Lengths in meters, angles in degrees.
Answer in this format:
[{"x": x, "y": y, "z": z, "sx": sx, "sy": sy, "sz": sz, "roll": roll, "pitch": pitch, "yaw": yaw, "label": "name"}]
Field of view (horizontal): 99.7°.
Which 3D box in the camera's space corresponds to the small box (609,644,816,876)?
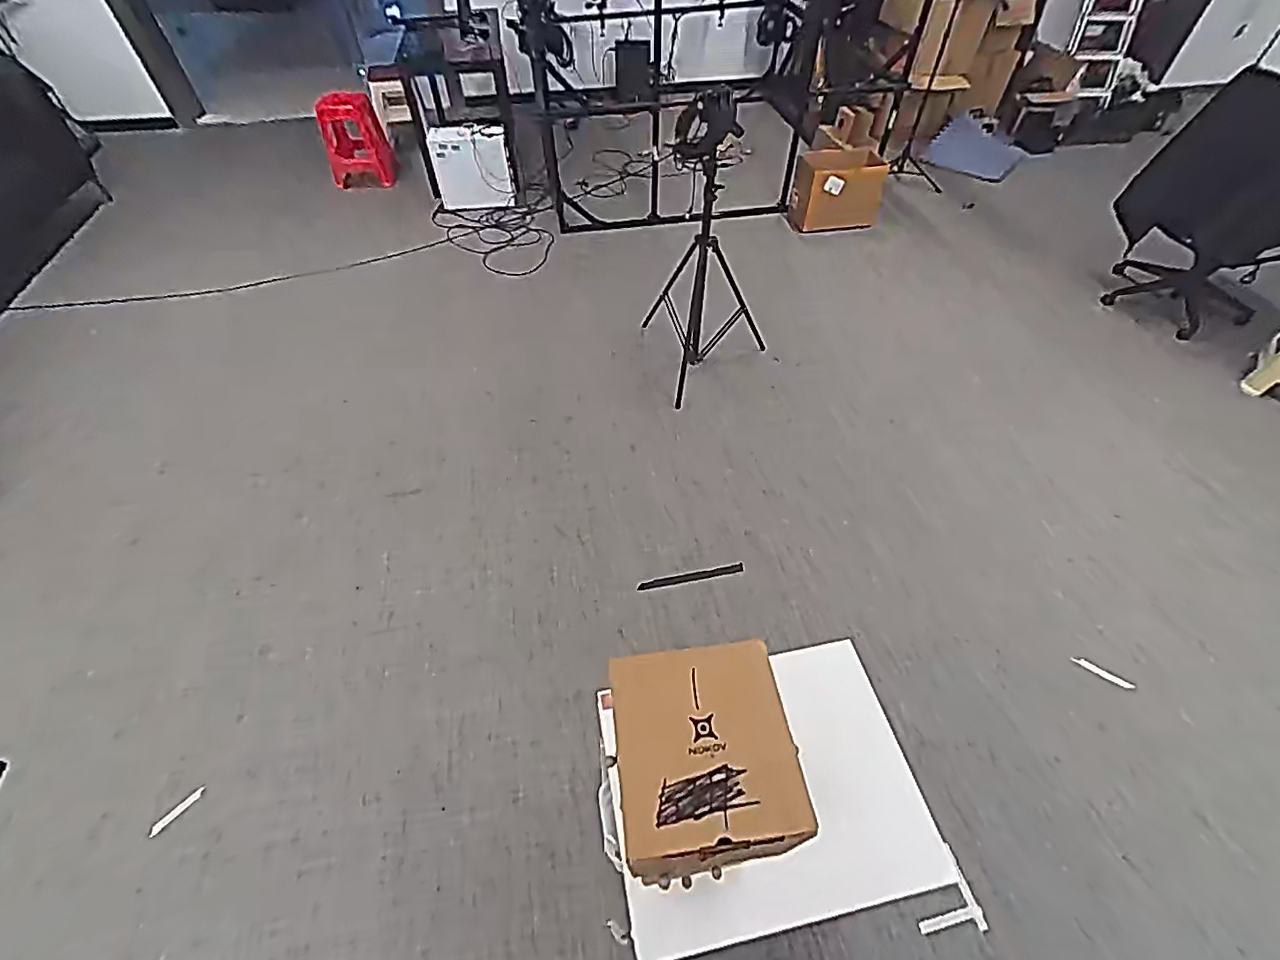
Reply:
[{"x": 0.061, "y": 0.295, "z": 0.563, "sx": 0.168, "sy": 0.176, "sz": 0.179, "roll": -6, "pitch": 50, "yaw": -4, "label": "small box"}]
